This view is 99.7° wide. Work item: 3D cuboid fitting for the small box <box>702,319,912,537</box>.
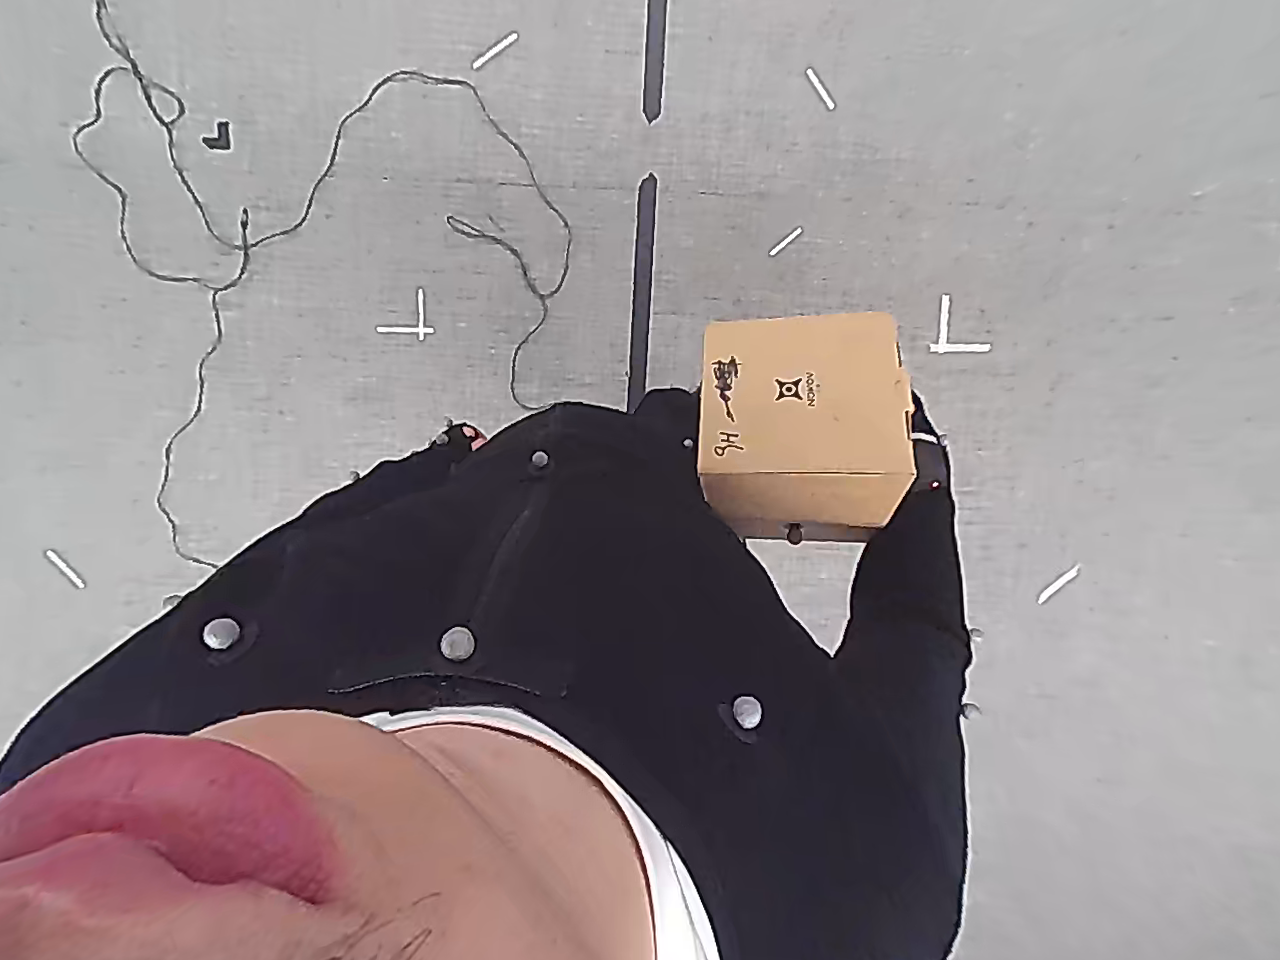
[{"bbox_3d":[0.161,-0.046,0.565,0.179,0.176,0.168,1,64,12],"label":"small box"}]
